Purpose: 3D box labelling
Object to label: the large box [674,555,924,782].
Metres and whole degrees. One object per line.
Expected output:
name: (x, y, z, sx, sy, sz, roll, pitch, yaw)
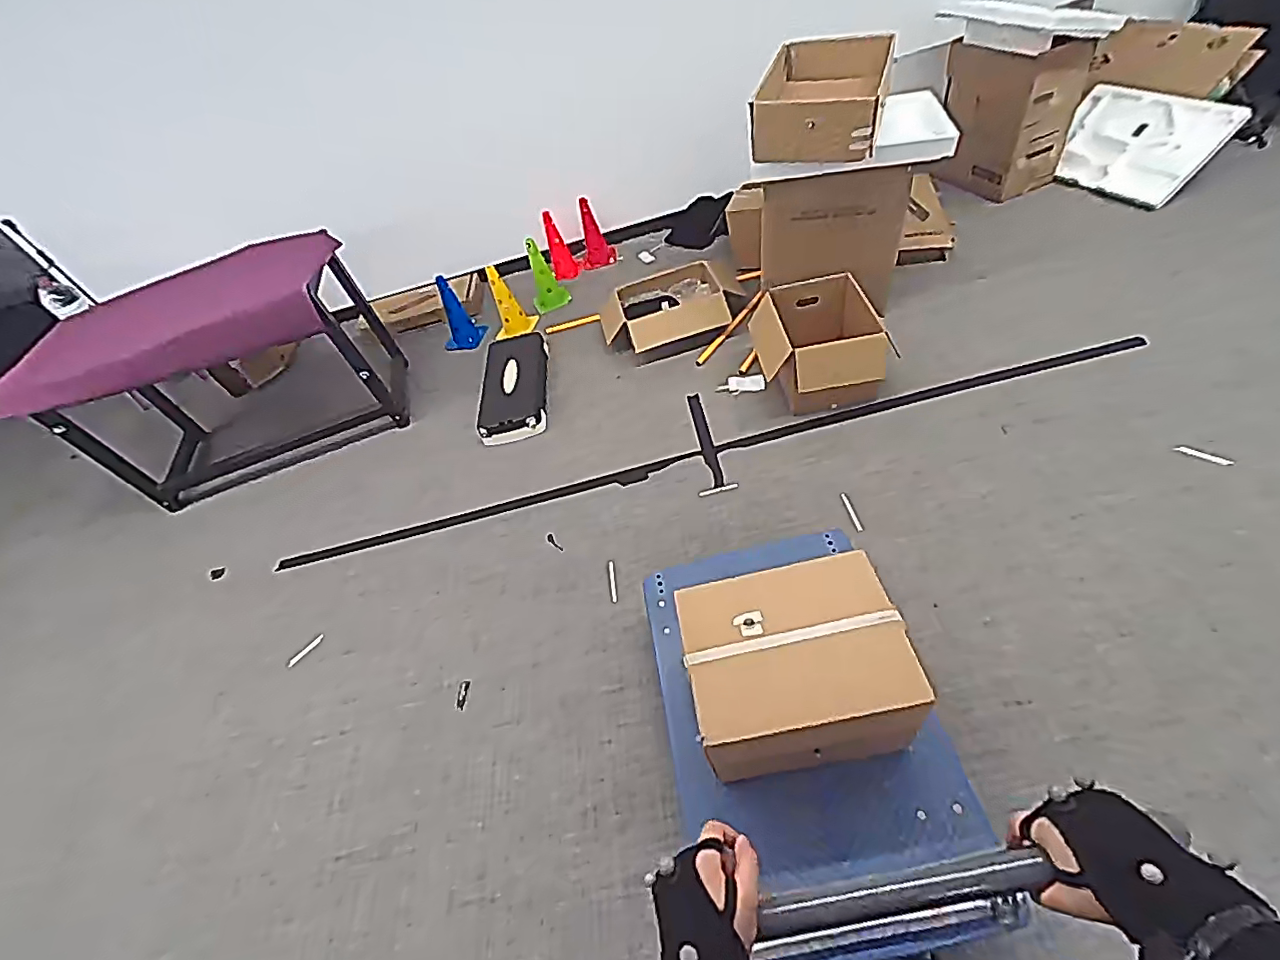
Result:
large box: (0.318, 0.412, 1.157, 0.408, 0.320, 0.320, -15, 47, 5)
